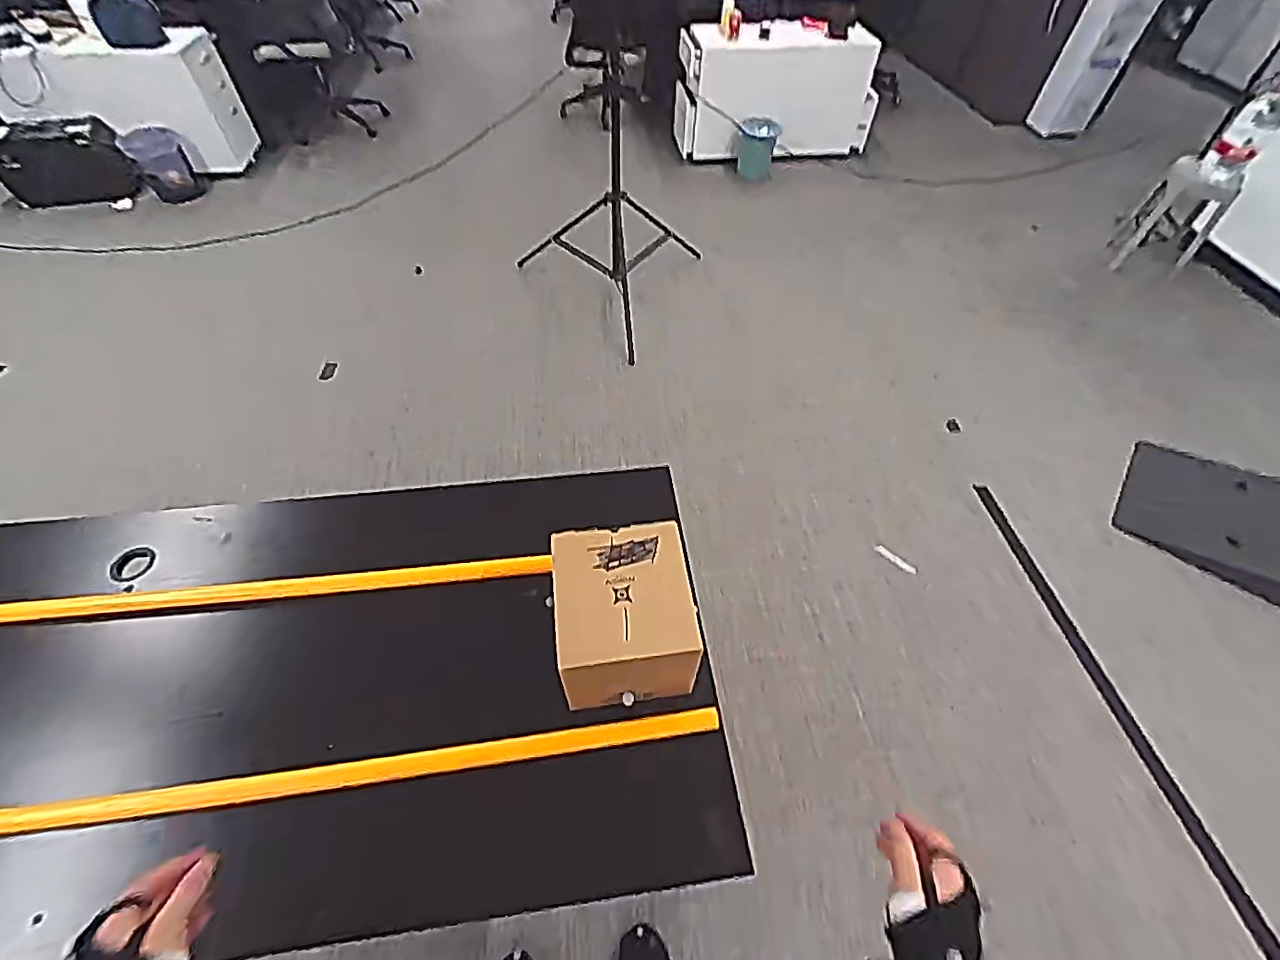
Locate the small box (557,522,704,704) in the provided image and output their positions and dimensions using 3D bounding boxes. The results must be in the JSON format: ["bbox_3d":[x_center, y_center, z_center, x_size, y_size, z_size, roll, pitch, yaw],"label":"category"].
[{"bbox_3d":[-0.020,0.179,0.721,0.168,0.176,0.179,-6,53,-5],"label":"small box"}]
